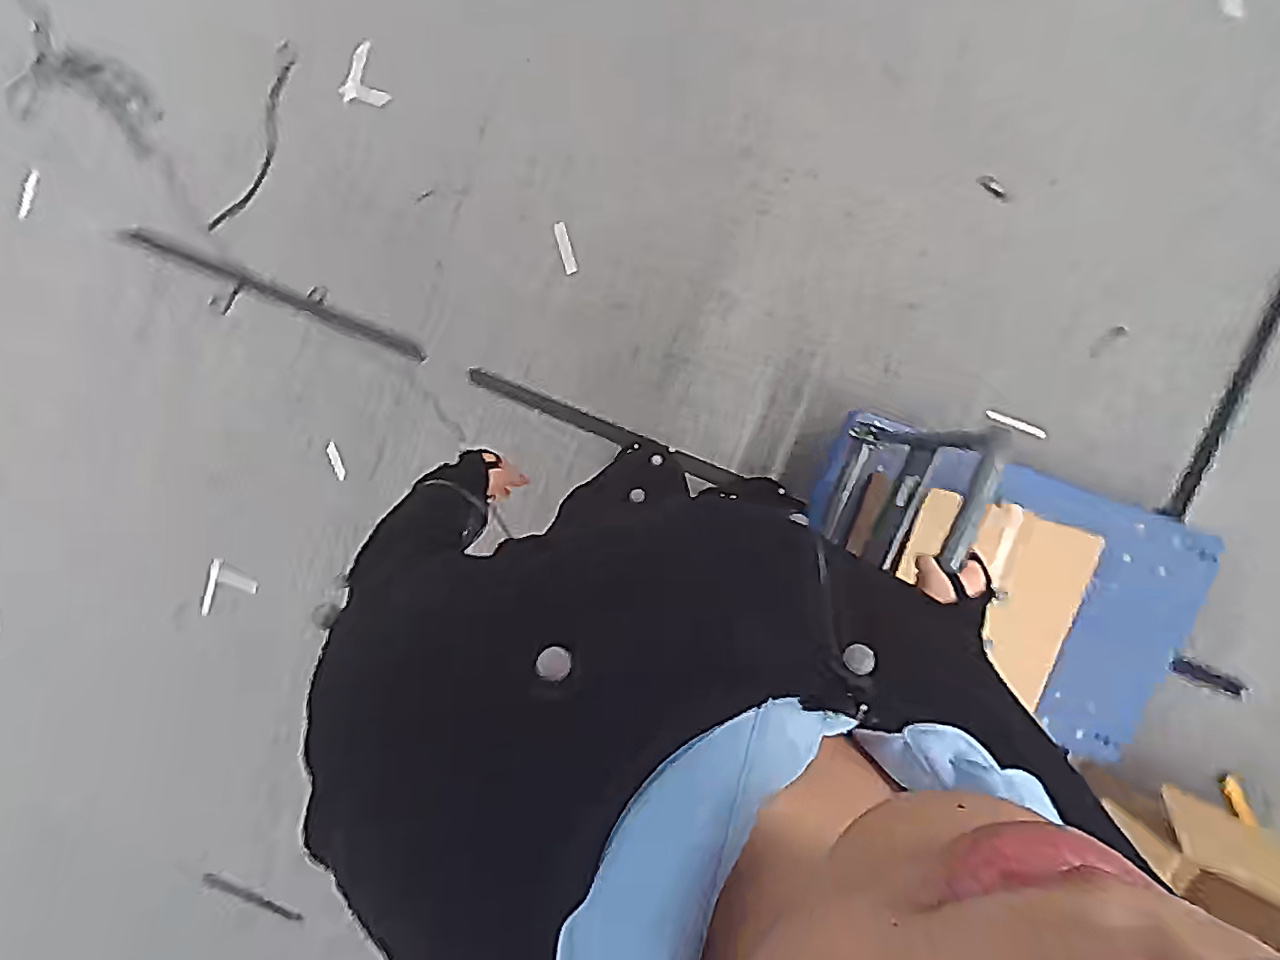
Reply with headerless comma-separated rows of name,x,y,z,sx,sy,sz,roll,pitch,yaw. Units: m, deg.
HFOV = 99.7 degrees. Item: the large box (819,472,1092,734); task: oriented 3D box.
large box,0.618,0.226,1.137,0.320,0.320,0.408,18,98,4
